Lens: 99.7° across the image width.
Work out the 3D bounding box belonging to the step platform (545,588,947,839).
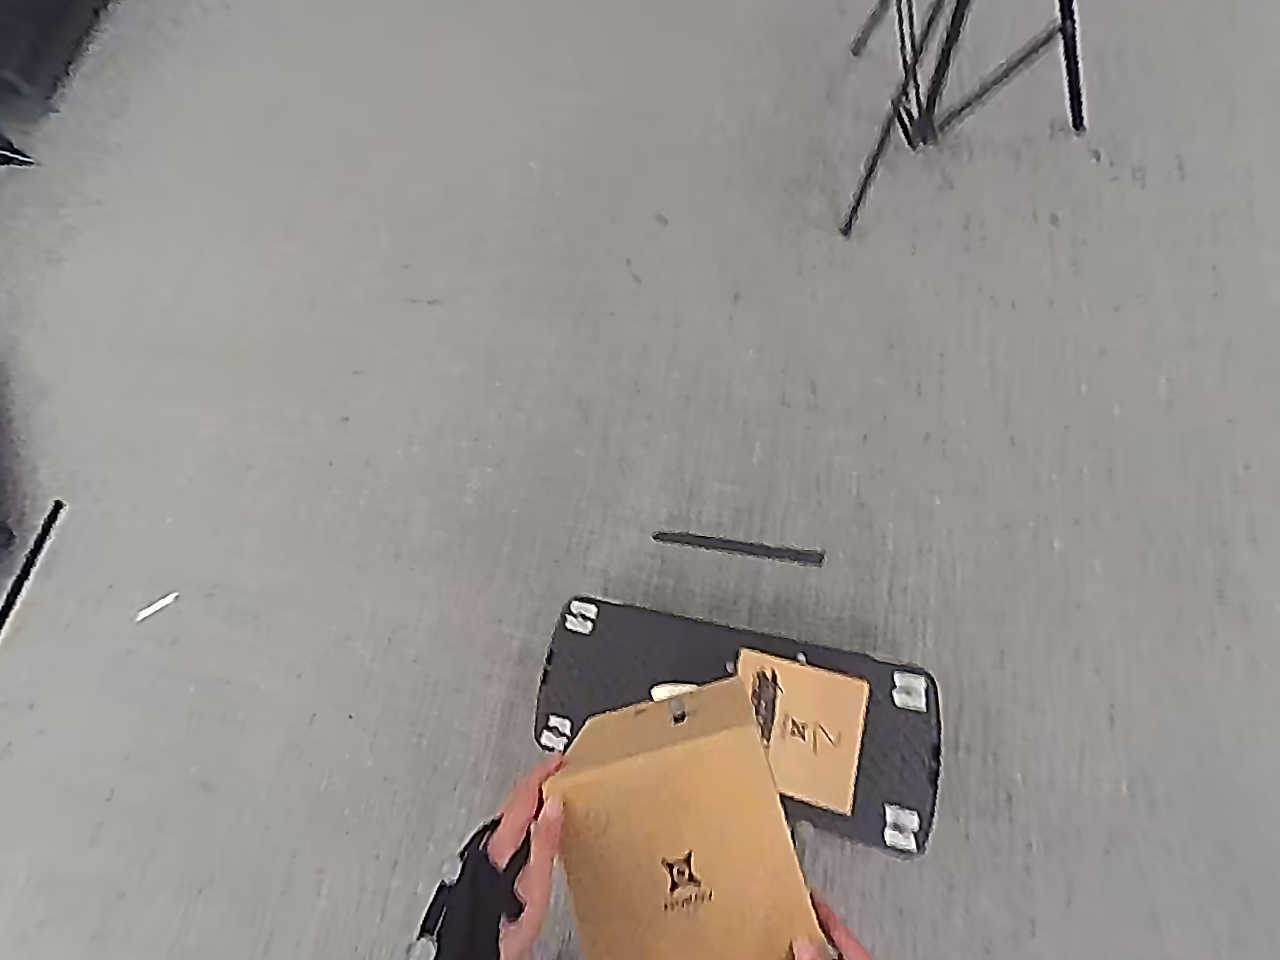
[{"bbox_3d":[0.174,0.398,0.995,0.684,0.204,0.286,8,74,15],"label":"step platform"}]

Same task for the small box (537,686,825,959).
[{"bbox_3d":[0.032,0.289,0.455,0.168,0.176,0.179,-18,81,3],"label":"small box"}]
